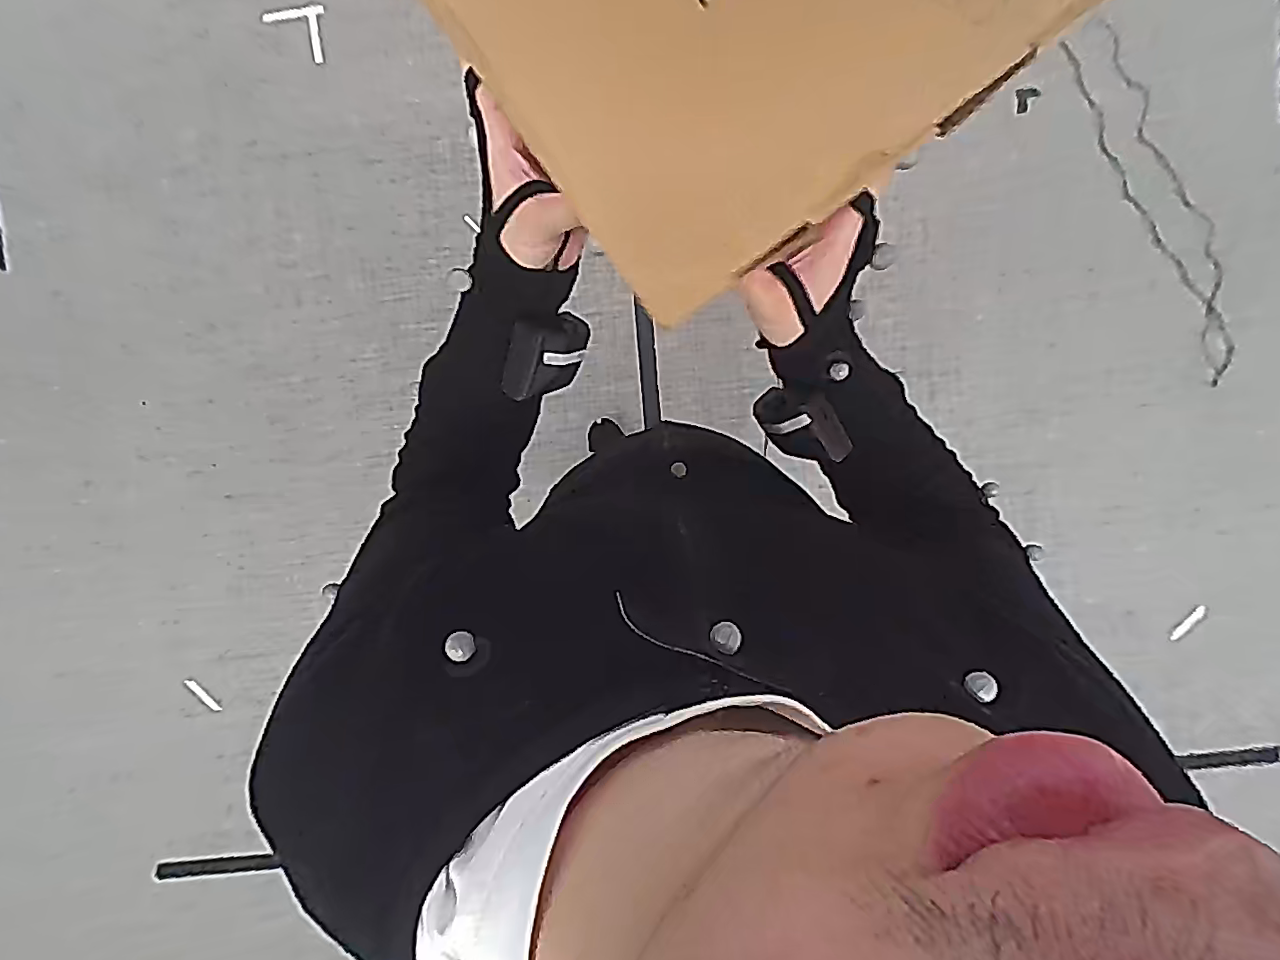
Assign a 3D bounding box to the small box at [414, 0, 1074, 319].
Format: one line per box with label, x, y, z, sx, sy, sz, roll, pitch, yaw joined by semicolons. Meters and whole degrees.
small box;0.024;-0.202;0.230;0.168;0.176;0.179;-35;109;19
